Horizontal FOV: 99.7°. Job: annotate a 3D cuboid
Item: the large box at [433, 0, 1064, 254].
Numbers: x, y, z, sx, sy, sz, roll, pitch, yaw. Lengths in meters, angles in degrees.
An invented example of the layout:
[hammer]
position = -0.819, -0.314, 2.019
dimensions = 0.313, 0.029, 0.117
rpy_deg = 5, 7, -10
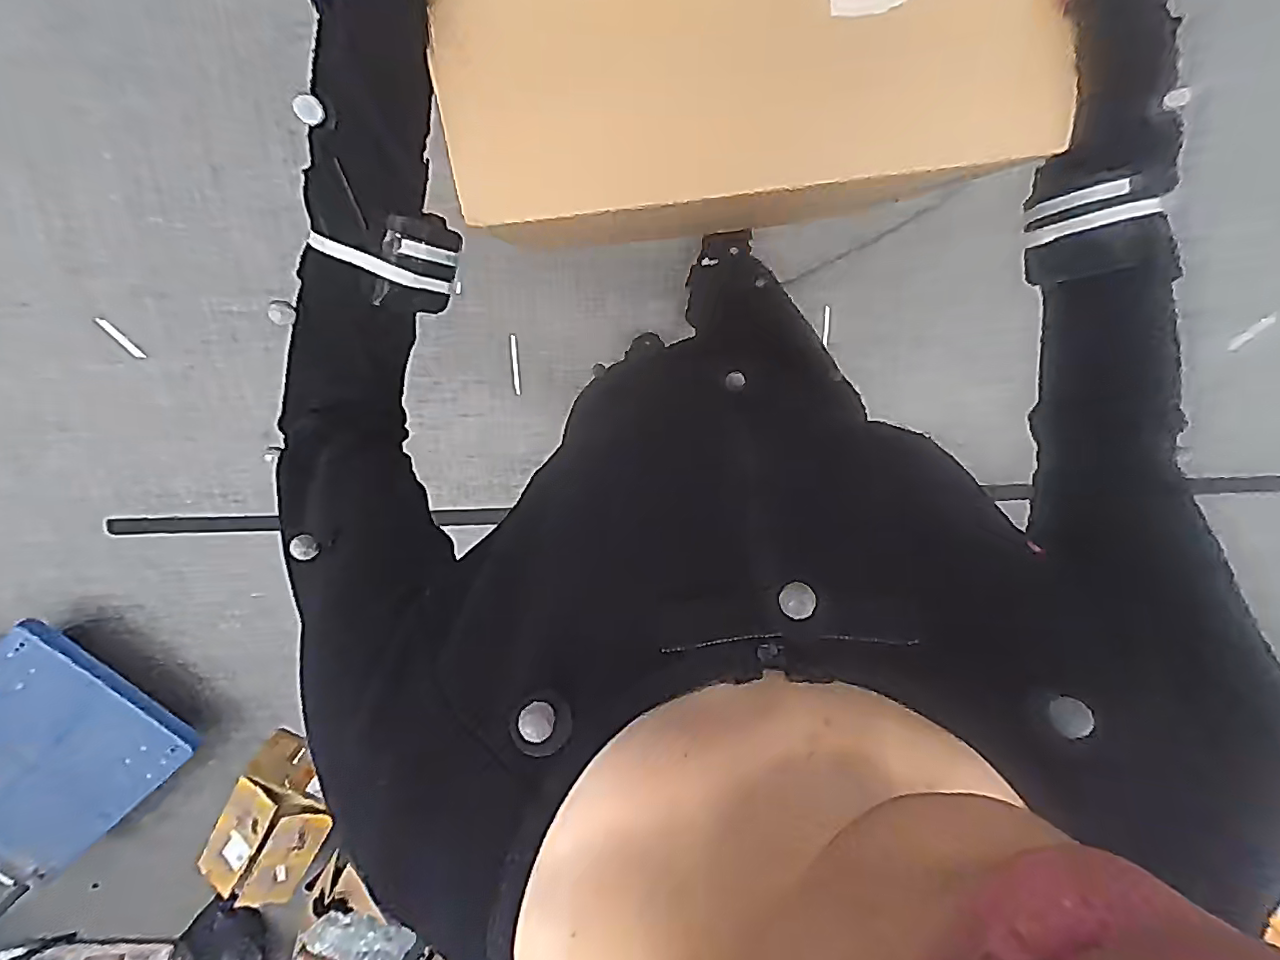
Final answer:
[large box]
position = 0.054, -0.396, 0.460
dimensions = 0.408, 0.320, 0.320
rpy_deg = -8, 109, -2
